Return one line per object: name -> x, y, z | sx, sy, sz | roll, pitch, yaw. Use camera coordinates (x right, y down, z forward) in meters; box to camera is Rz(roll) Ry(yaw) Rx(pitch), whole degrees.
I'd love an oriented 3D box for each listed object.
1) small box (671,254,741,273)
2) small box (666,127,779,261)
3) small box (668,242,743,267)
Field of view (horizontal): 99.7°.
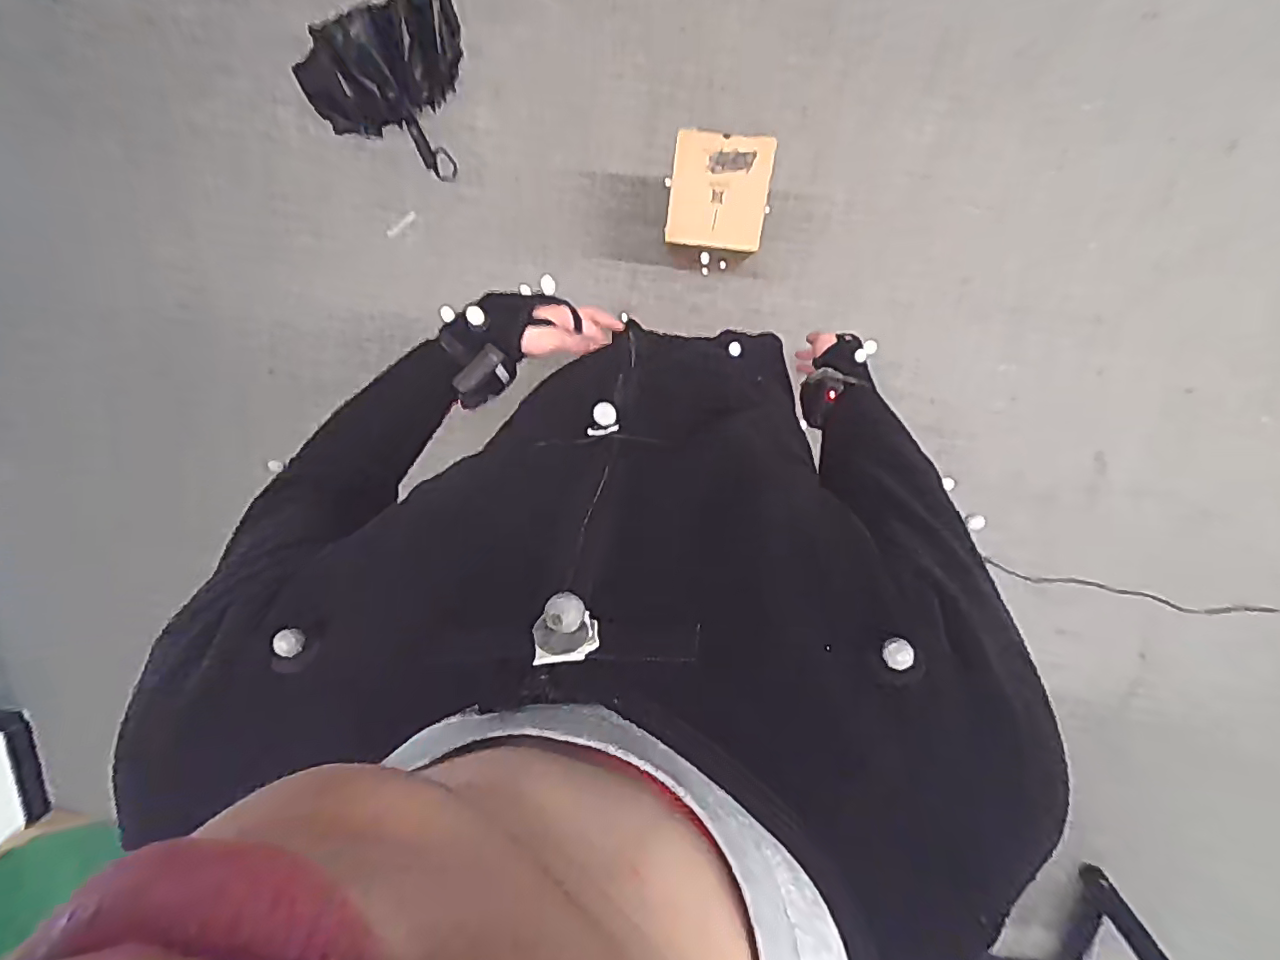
small box -> 0.169, -0.598, 1.289 | 0.168, 0.176, 0.179 | 7, 107, 4
small box -> 0.141, -0.504, 0.977 | 0.168, 0.176, 0.179 | 8, 108, 3
small box -> 0.154, -0.554, 1.133 | 0.168, 0.176, 0.179 | 7, 105, 3
